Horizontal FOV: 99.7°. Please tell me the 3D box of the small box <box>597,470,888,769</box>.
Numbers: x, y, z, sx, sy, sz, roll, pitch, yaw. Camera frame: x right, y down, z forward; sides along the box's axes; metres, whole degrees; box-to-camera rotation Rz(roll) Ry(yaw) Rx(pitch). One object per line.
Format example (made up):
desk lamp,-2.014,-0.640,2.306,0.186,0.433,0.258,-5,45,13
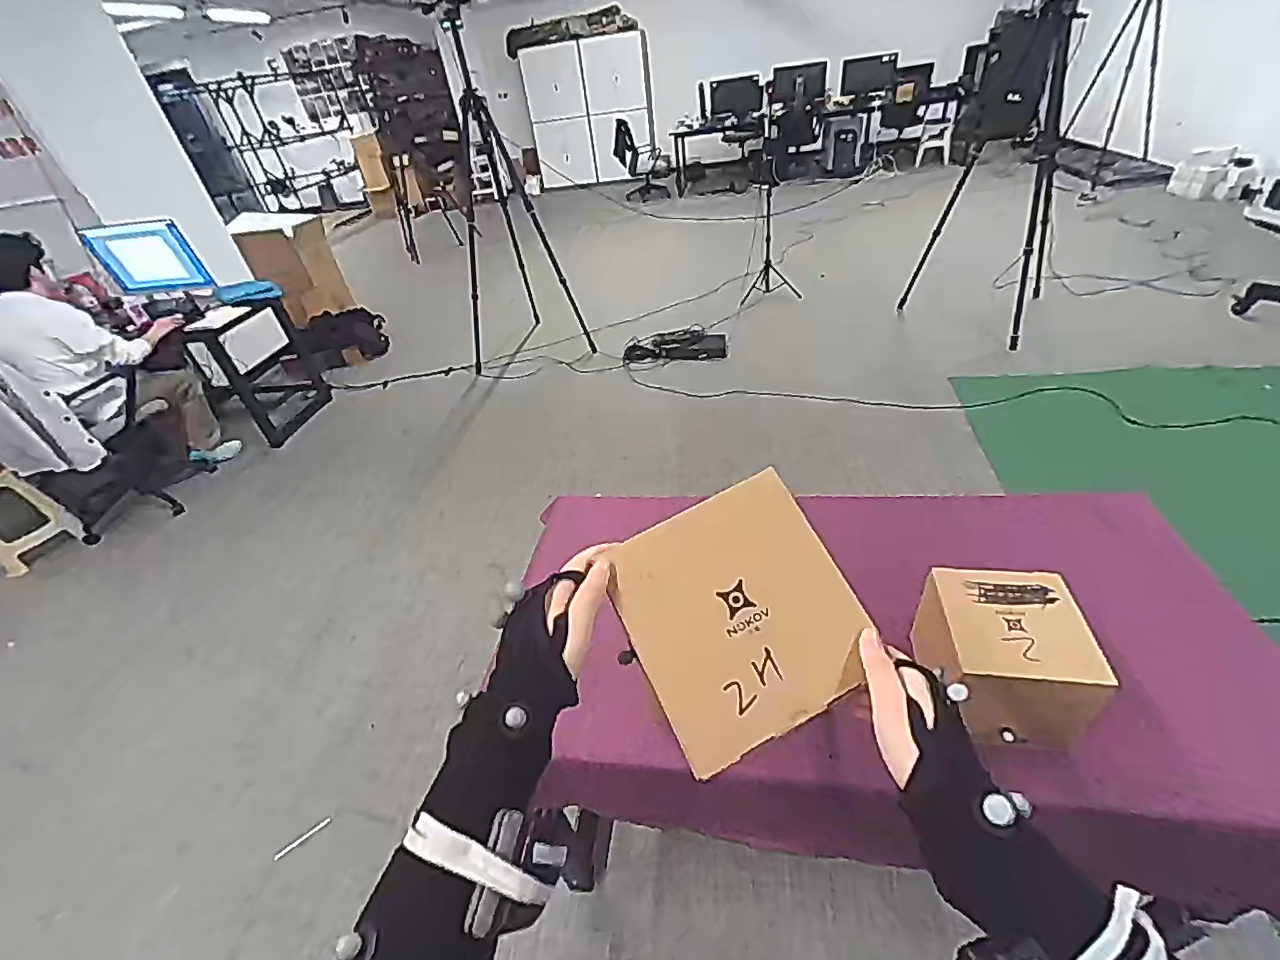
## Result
small box,0.074,0.122,0.487,0.168,0.176,0.179,-27,74,-7
